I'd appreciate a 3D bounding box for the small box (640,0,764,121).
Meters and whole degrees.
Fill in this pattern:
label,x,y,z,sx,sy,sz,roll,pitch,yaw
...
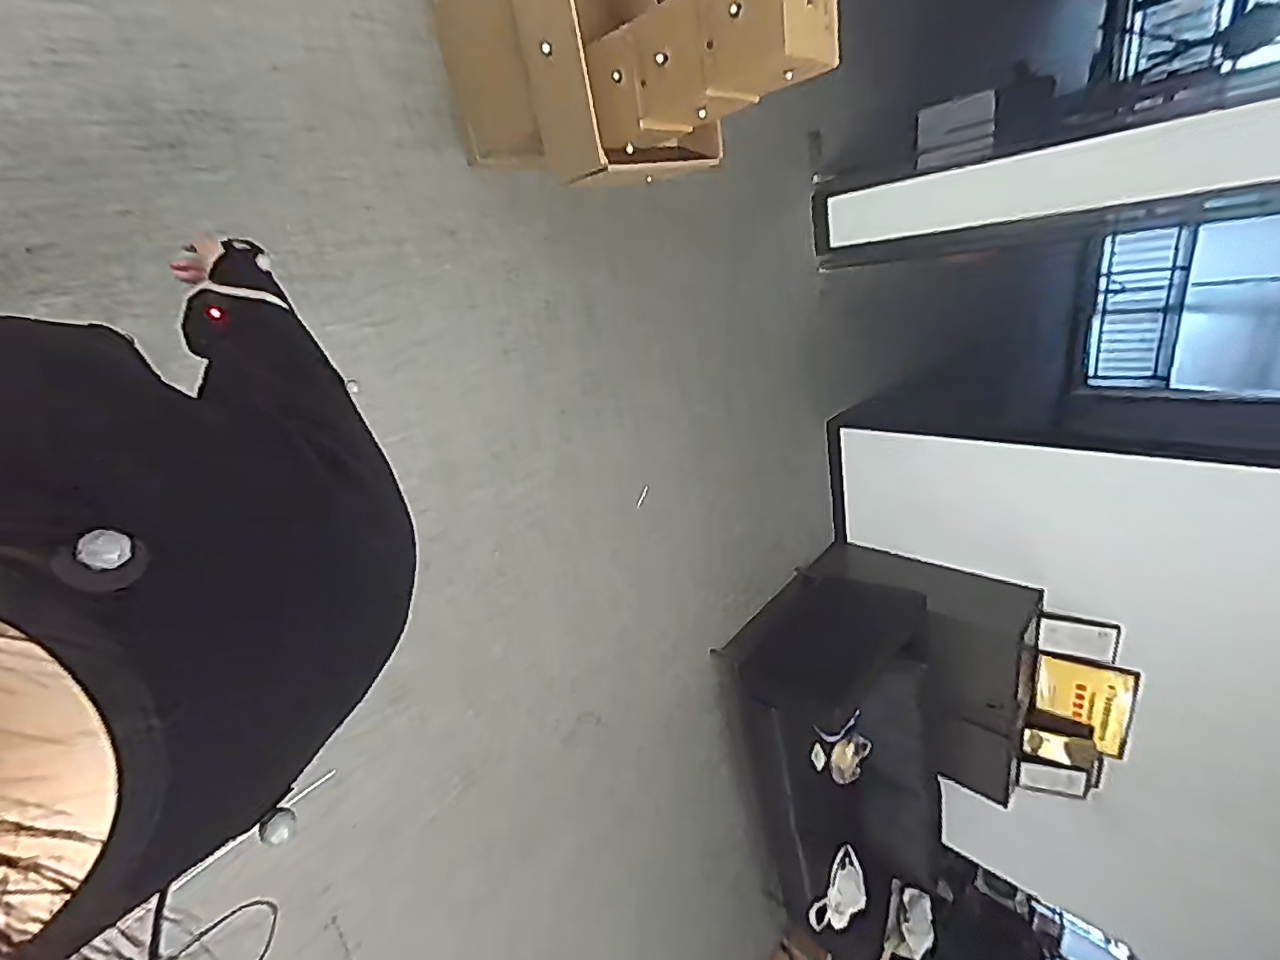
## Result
label,x,y,z,sx,sy,sz,roll,pitch,yaw
small box,0.114,-0.812,1.042,0.179,0.176,0.168,-27,118,-36

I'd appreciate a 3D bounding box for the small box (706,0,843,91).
label,x,y,z,sx,sy,sz,roll,pitch,yaw
small box,0.225,-0.789,0.921,0.179,0.176,0.168,-27,118,-38
